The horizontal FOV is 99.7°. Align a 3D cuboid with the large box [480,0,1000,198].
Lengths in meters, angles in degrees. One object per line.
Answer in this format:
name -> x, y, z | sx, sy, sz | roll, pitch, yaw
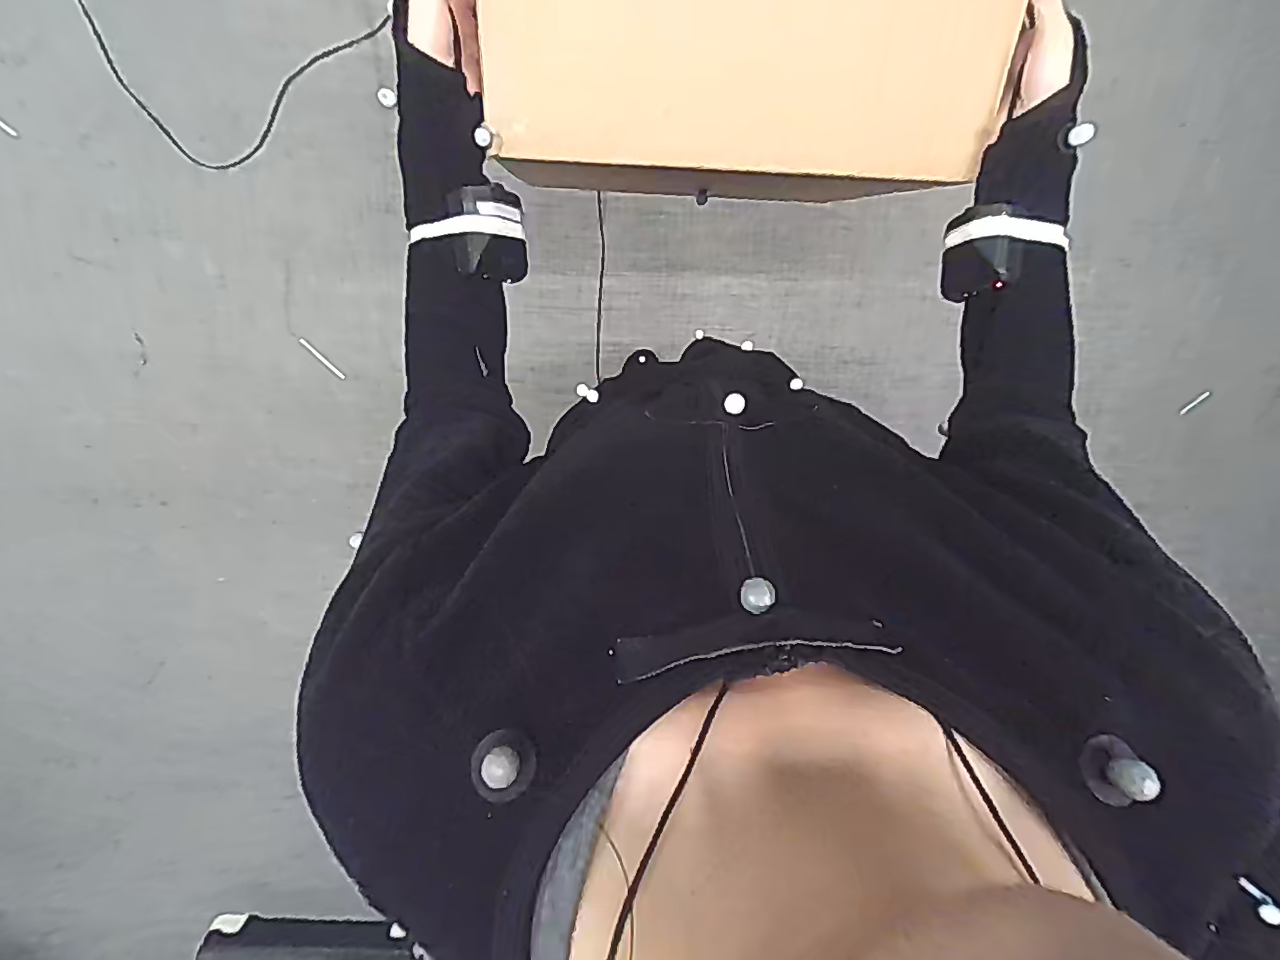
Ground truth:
large box -> 0.072, -0.455, 0.524 | 0.408, 0.320, 0.320 | 0, 113, -5
